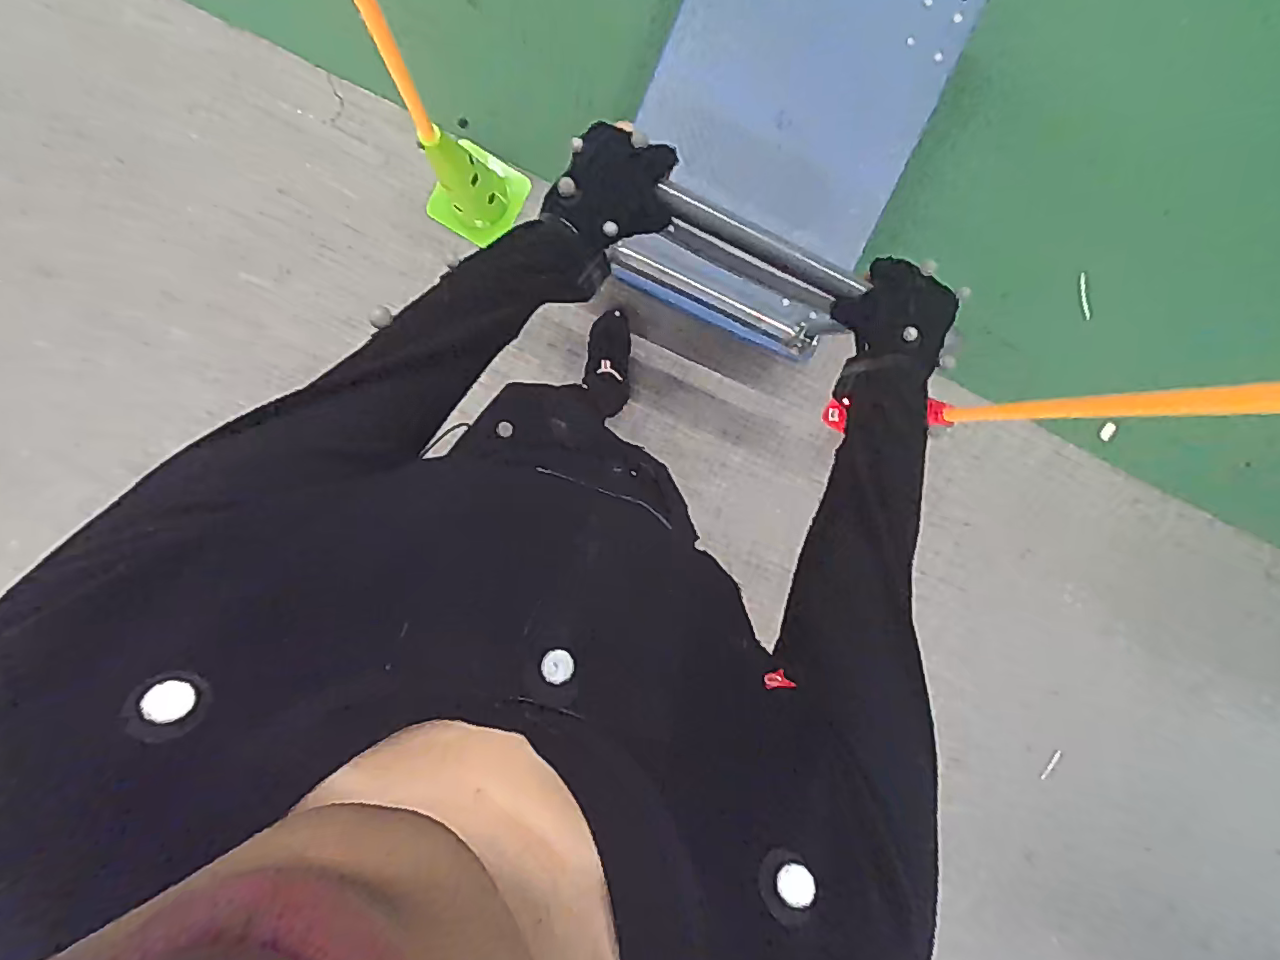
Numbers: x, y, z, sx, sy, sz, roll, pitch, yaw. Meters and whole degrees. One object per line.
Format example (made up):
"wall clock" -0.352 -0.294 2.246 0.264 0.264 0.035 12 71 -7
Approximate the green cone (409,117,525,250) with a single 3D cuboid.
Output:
"green cone" -0.399 -0.668 1.154 0.202 0.368 0.200 29 97 -6
